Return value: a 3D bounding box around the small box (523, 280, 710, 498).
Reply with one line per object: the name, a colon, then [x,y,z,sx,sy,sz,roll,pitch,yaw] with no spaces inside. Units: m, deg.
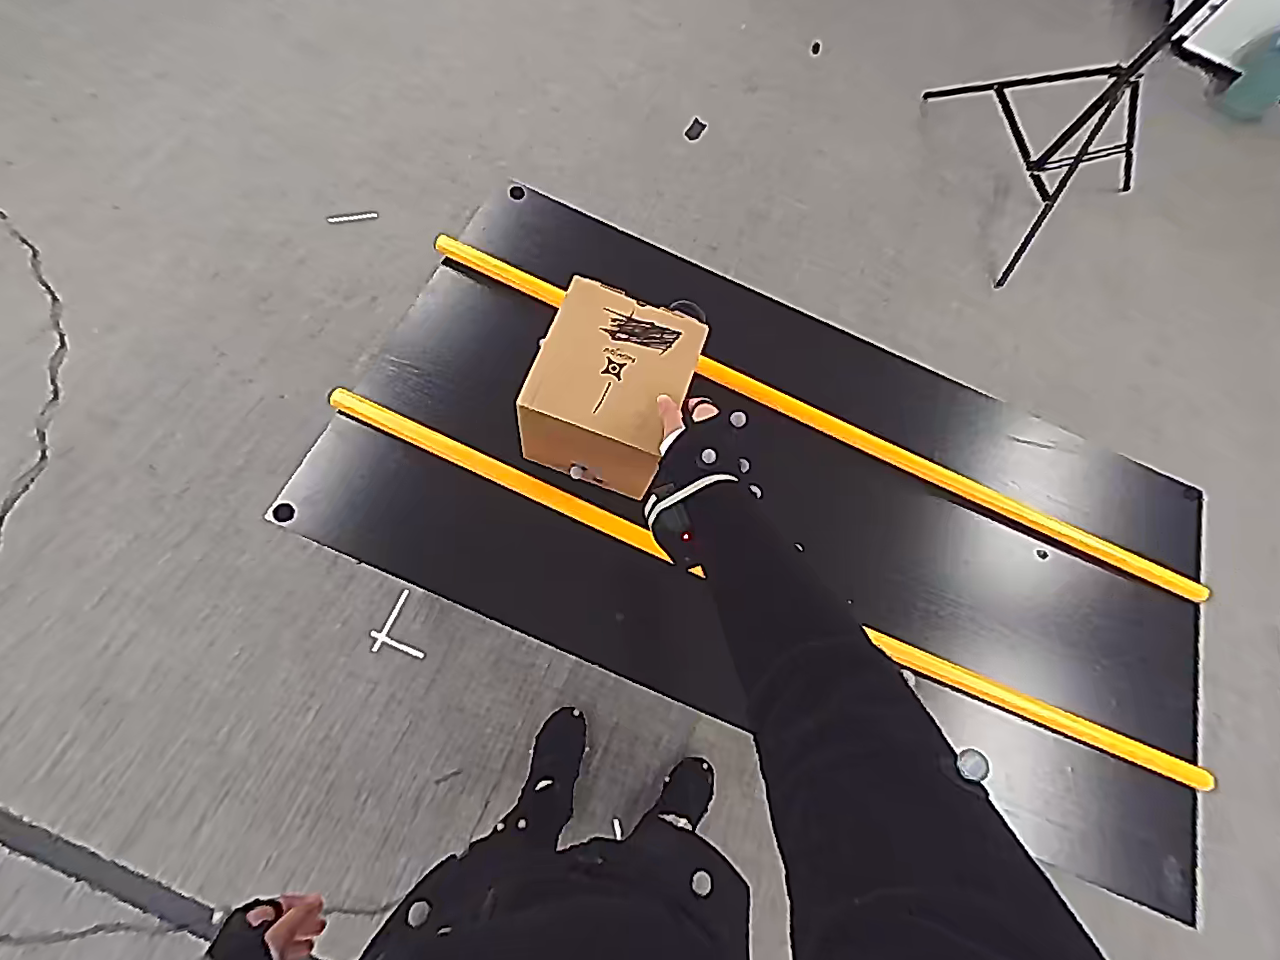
small box: [-0.033,-0.101,0.667,0.168,0.176,0.179,20,71,-2]
